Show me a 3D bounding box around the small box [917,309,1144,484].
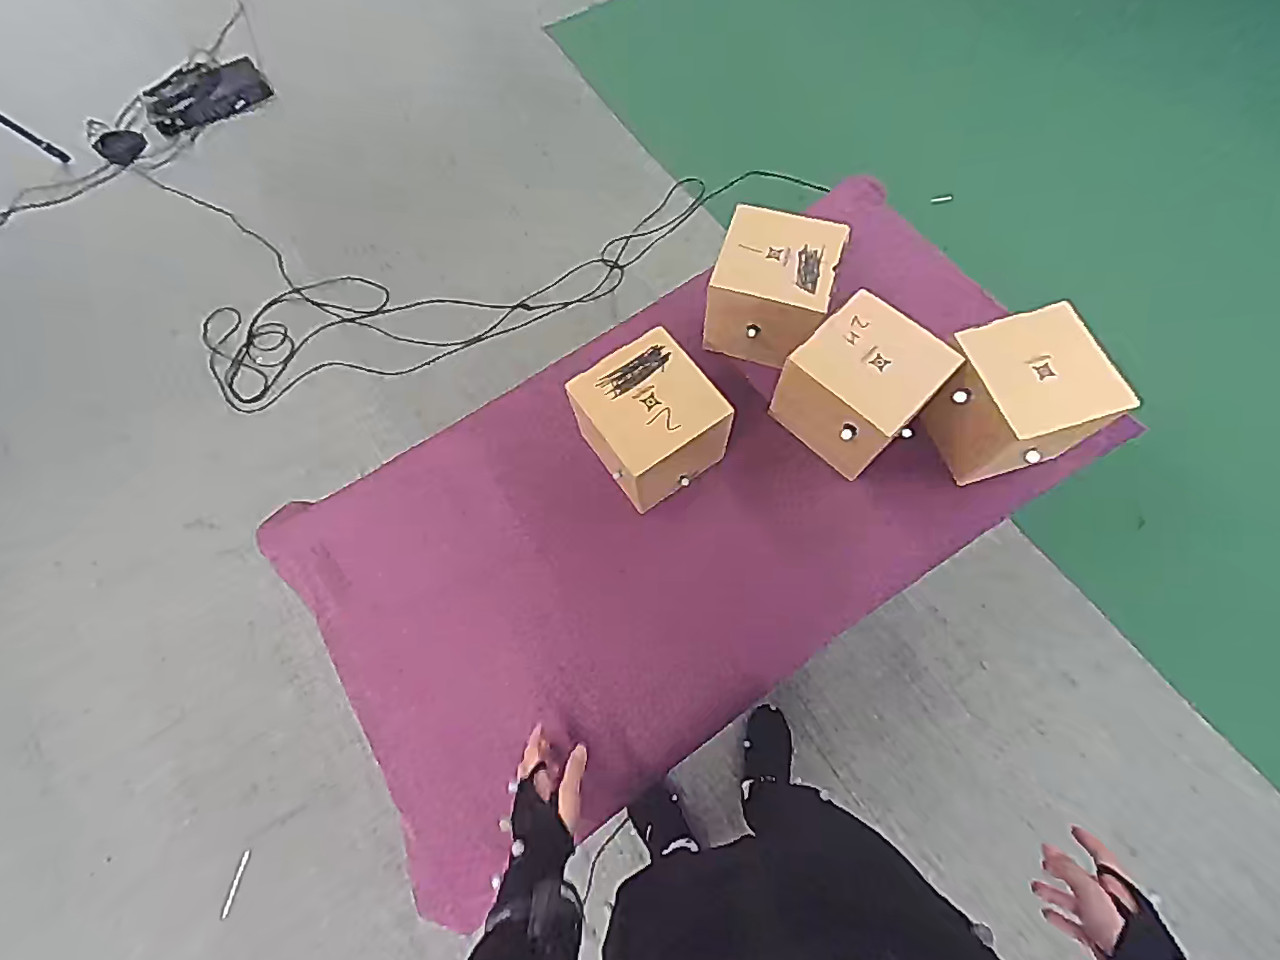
[{"bbox_3d":[0.539,-0.107,0.778,0.168,0.176,0.179,-16,67,-1],"label":"small box"}]
